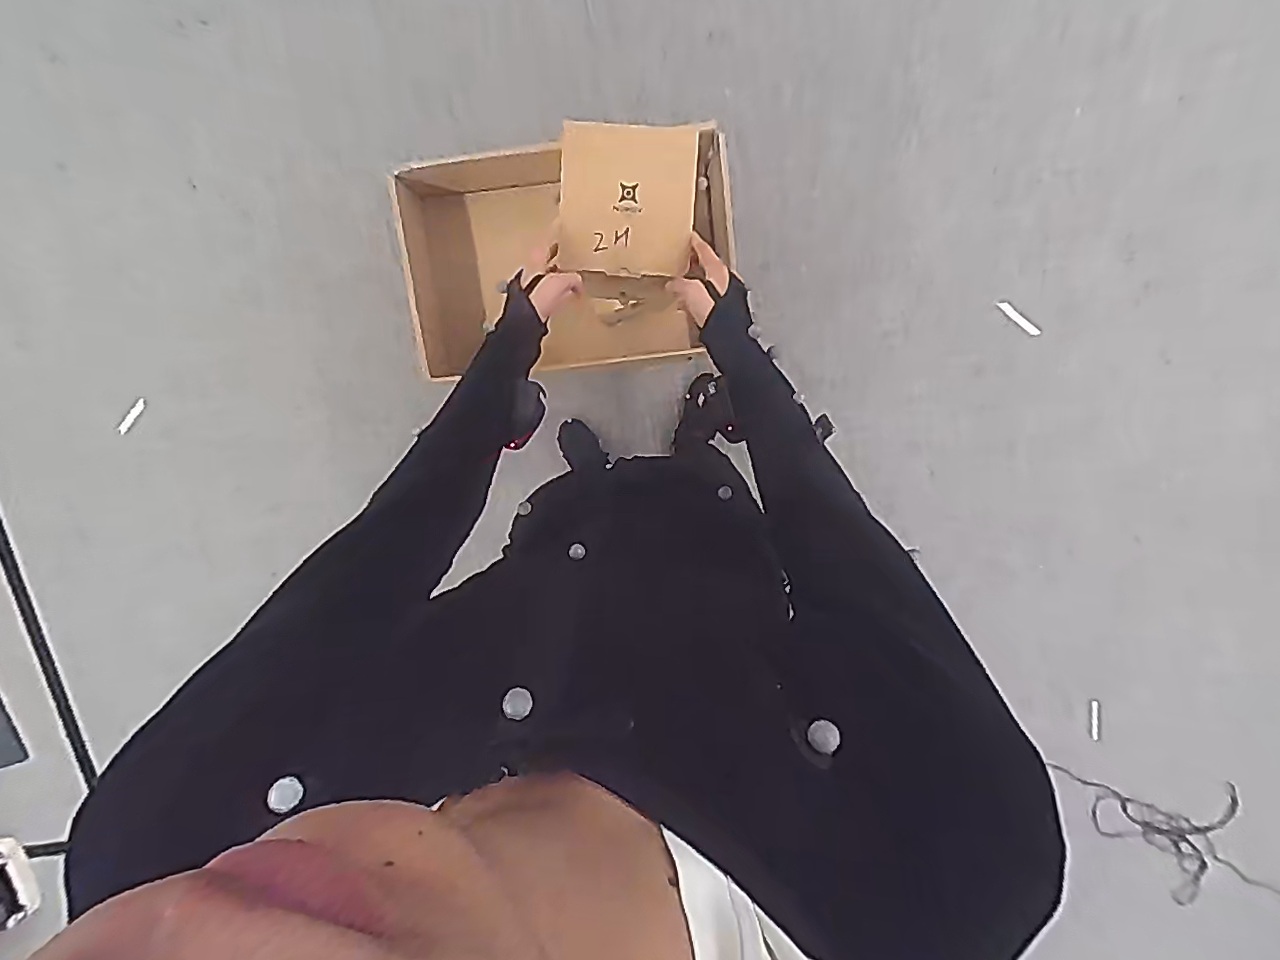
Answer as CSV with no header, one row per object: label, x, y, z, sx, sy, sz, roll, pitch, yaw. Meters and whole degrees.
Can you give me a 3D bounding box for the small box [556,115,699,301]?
small box,-0.018,-0.353,0.733,0.168,0.176,0.179,4,98,-1
